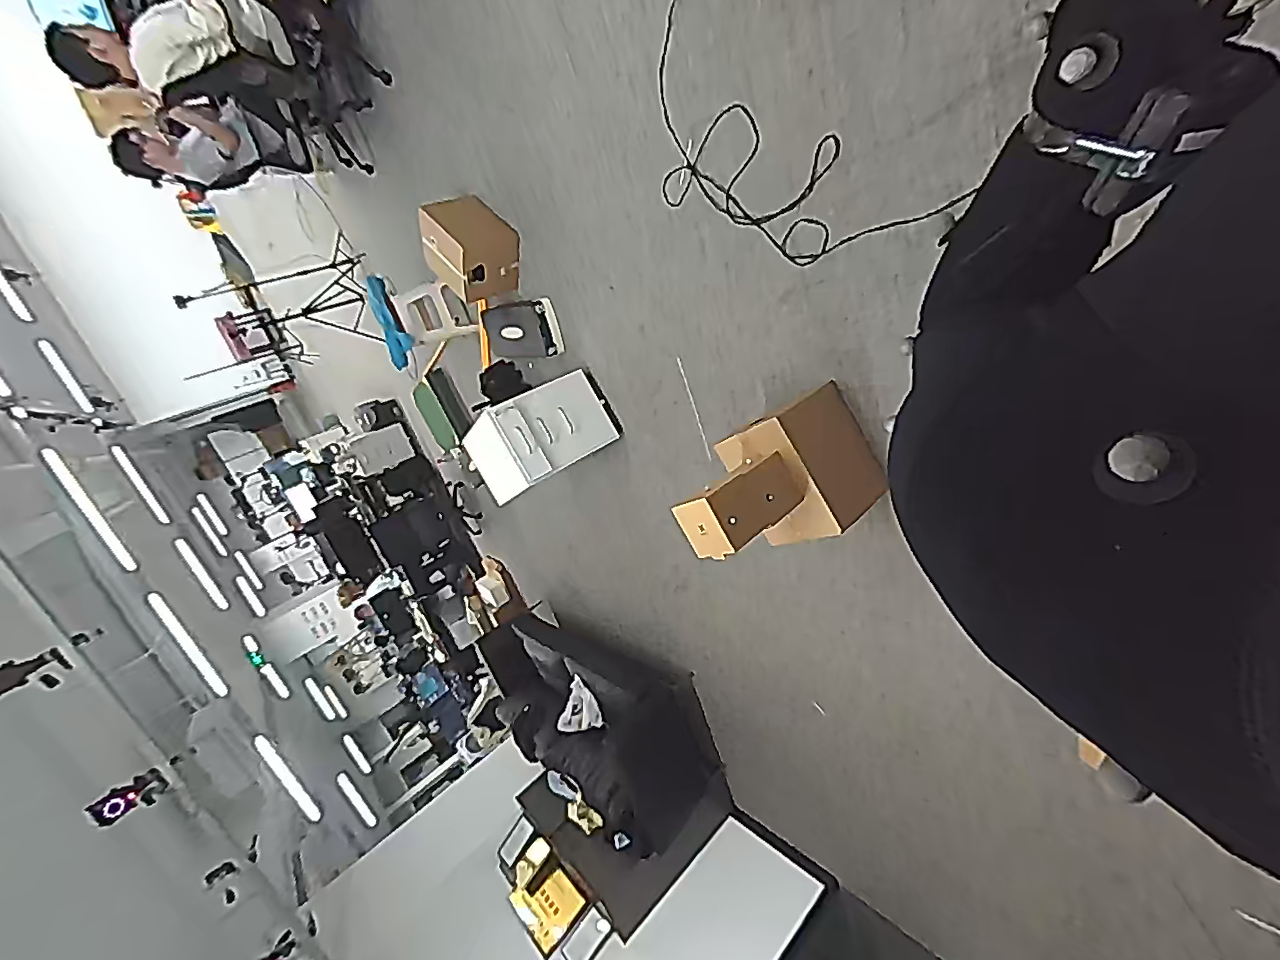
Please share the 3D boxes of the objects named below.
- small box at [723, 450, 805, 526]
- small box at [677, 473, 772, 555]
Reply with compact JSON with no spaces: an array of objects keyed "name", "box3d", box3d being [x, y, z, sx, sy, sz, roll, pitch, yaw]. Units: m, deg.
[{"name":"small box","box3d":[0.369,0.033,1.652,0.168,0.176,0.179,-24,96,57]},{"name":"small box","box3d":[0.245,0.093,1.564,0.168,0.176,0.179,-23,98,57]}]
